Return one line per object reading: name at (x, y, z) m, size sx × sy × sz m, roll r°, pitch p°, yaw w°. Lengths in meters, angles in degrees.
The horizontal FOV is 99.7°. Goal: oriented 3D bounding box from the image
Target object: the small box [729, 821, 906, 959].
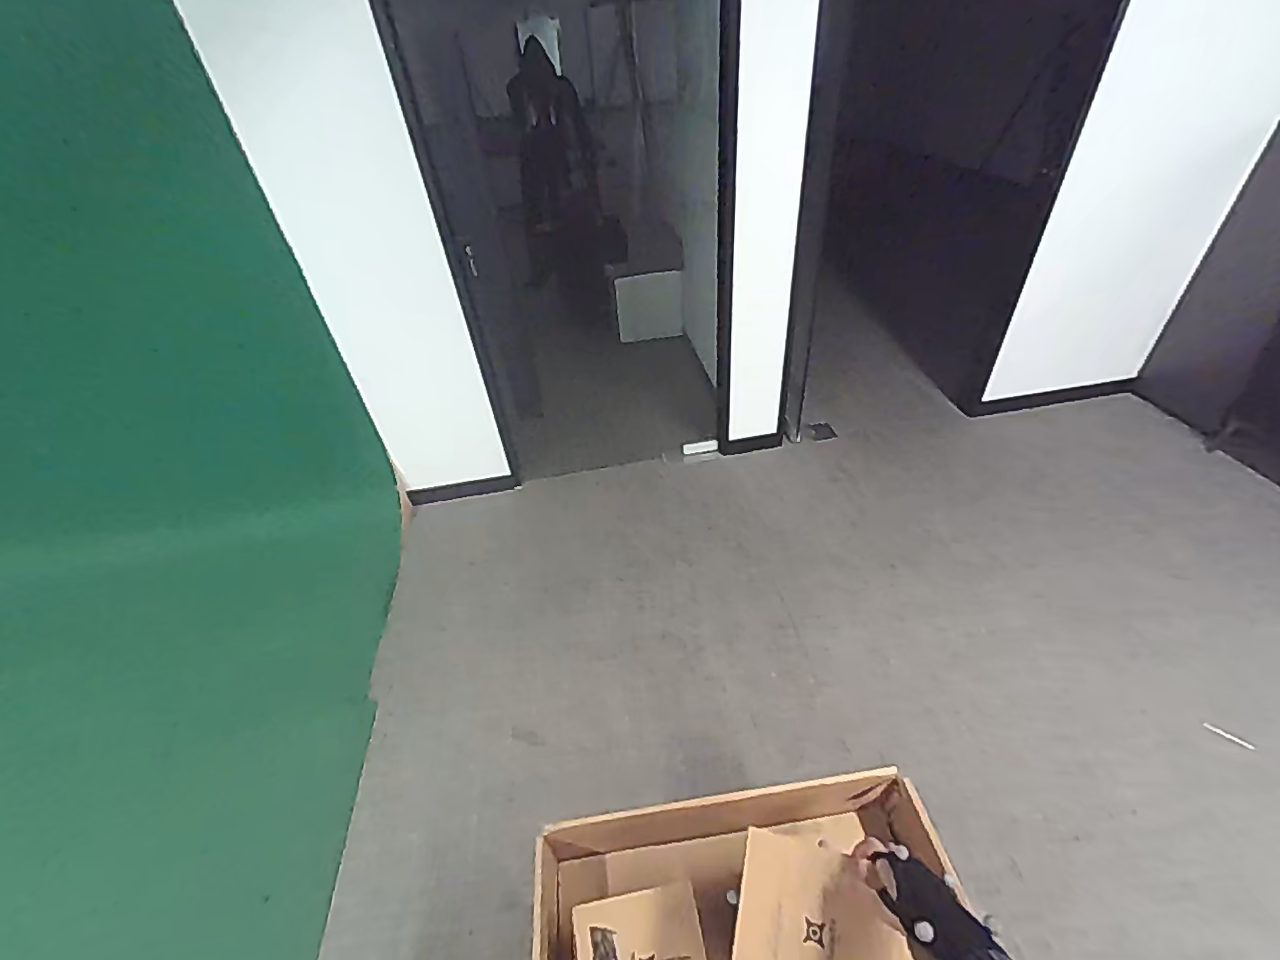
small box at (0.205, 0.538, 0.646) m, size 0.179 × 0.176 × 0.168 m, roll 8°, pitch 51°, yaw 17°
